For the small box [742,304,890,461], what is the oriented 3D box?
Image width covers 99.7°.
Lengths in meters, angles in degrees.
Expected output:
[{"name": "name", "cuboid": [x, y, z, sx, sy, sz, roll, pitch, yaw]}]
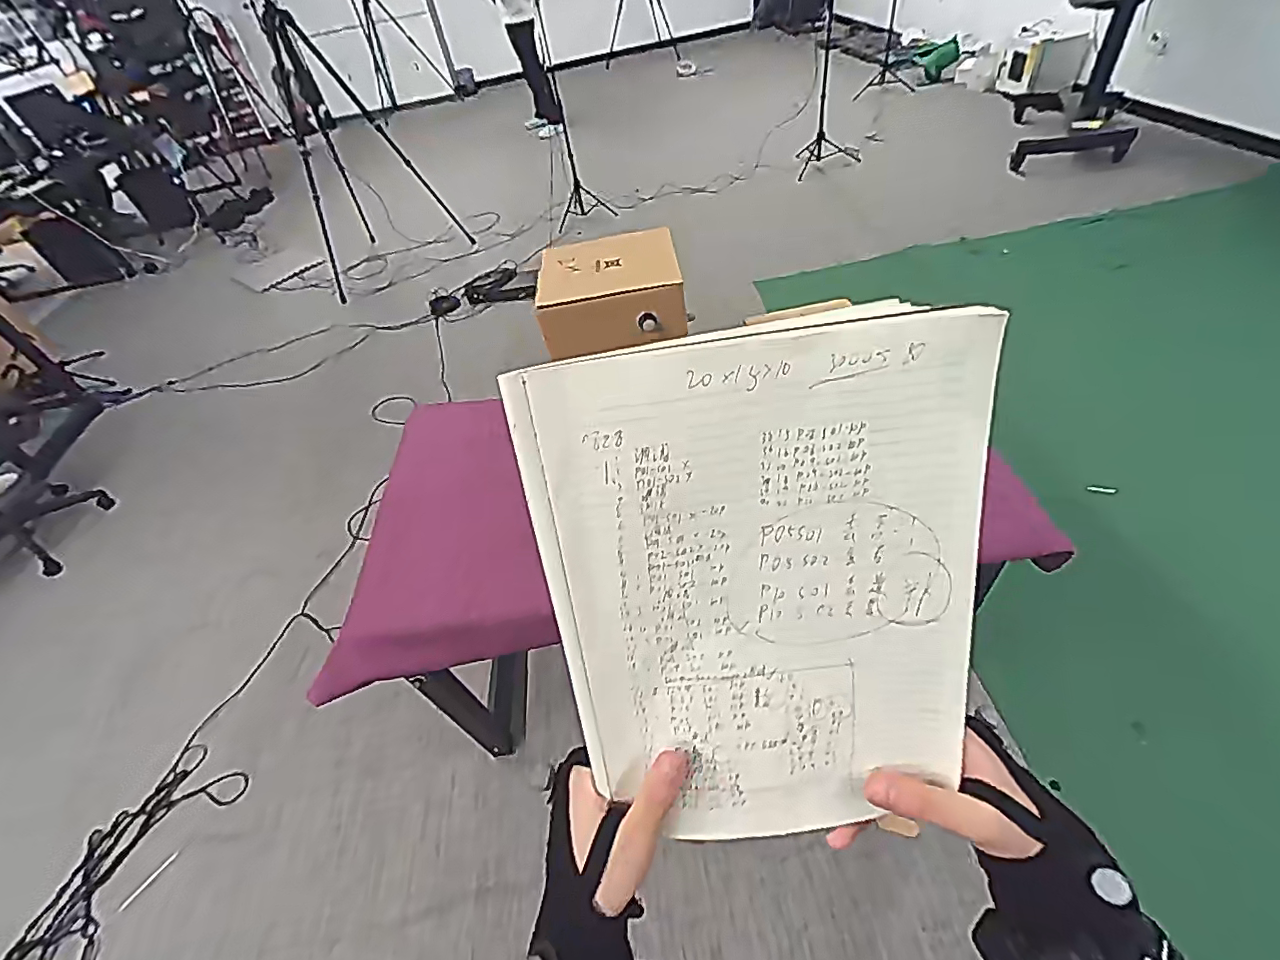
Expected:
[{"name": "small box", "cuboid": [0.261, -0.145, 0.840, 0.168, 0.176, 0.179, -10, 44, 1]}]

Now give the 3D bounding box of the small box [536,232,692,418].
[{"name": "small box", "cuboid": [-0.026, -0.205, 0.725, 0.179, 0.176, 0.168, -9, 44, 4]}]

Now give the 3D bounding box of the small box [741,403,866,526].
[{"name": "small box", "cuboid": [0.279, -0.033, 0.959, 0.168, 0.176, 0.179, -9, 45, 2]}]
